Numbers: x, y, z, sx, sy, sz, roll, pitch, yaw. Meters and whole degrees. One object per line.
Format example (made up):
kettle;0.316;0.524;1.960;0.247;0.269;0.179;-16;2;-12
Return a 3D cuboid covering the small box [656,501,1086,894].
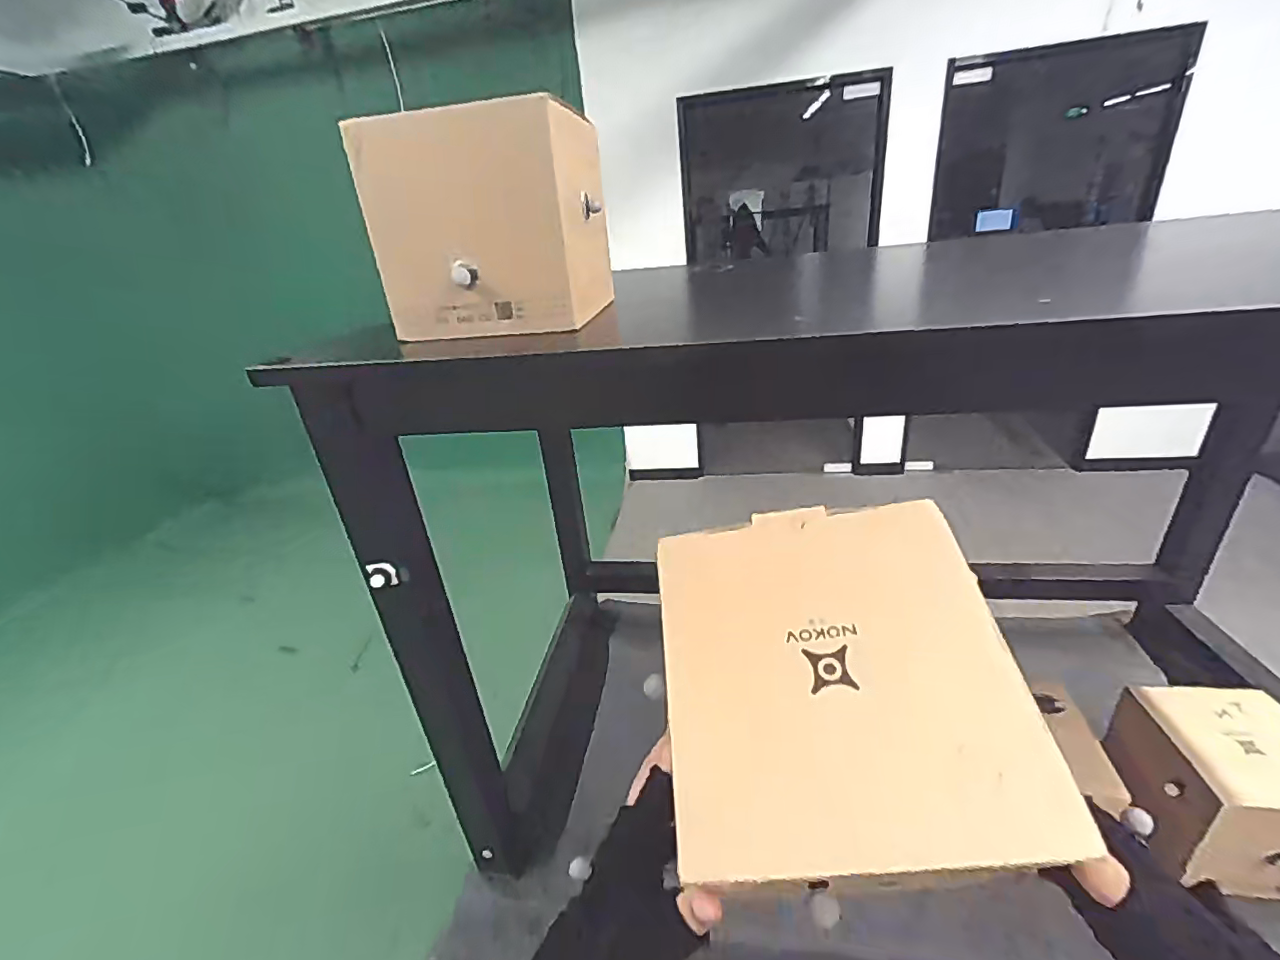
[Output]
small box;0.108;0.141;0.332;0.168;0.176;0.179;-9;49;7

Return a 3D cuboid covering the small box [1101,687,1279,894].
small box;0.751;0.397;0.697;0.168;0.176;0.179;-2;25;10

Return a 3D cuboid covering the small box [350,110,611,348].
small box;-0.126;-0.227;0.509;0.168;0.176;0.179;-2;27;9
